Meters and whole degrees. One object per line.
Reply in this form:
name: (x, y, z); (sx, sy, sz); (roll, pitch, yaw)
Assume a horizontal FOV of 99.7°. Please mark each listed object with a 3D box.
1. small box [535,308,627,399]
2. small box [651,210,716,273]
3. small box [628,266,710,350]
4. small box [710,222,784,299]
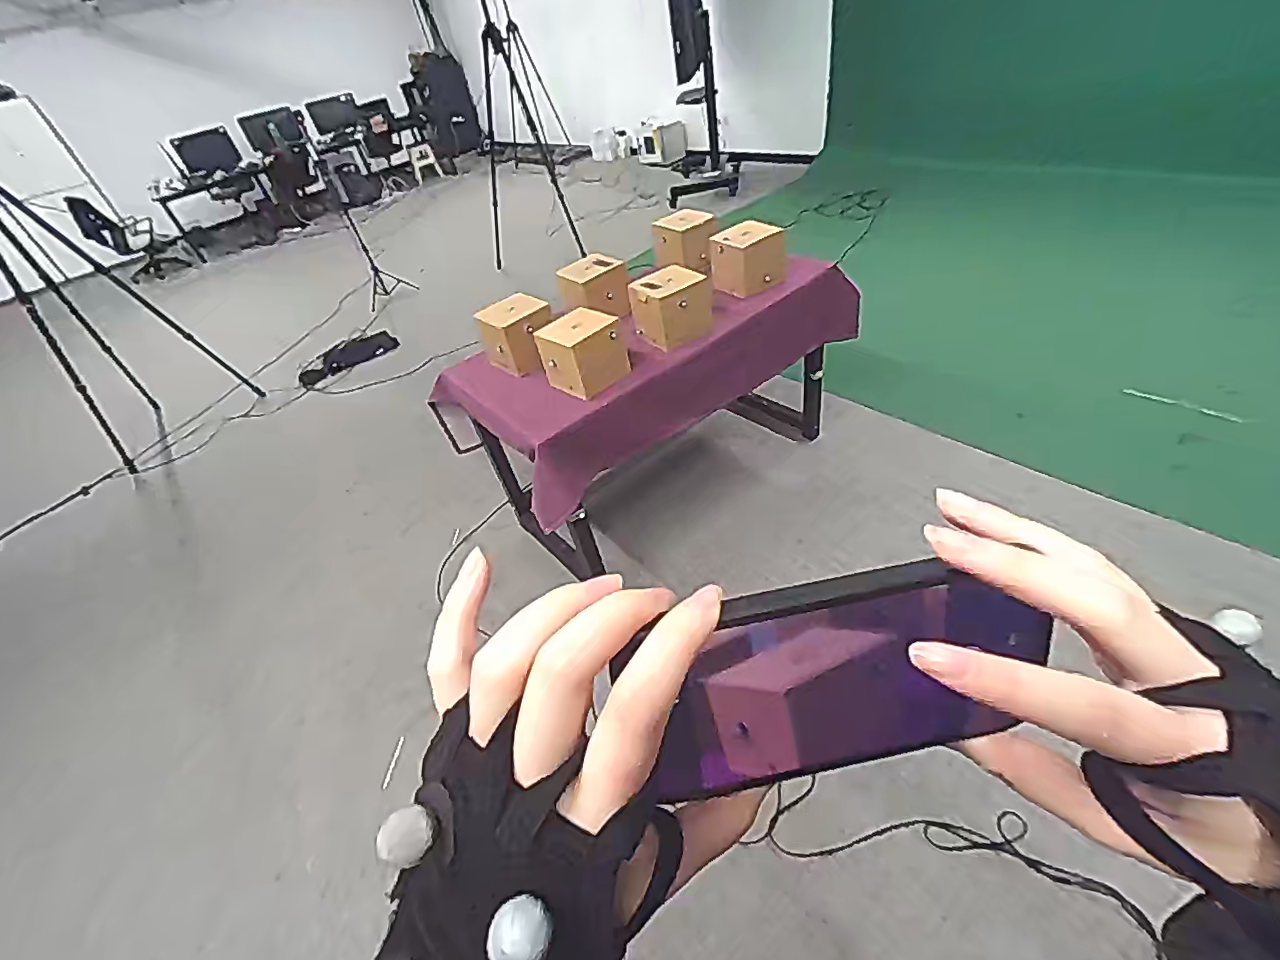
small box: (-0.155, -0.348, 1.489); (0.168, 0.176, 0.179); (28, 54, 37)
small box: (0.163, -0.862, 1.972); (0.168, 0.176, 0.179); (-33, 46, -20)
small box: (0.091, -0.508, 1.600); (0.179, 0.176, 0.168); (-30, 44, -19)
small box: (0.349, -0.718, 1.765); (0.179, 0.176, 0.168); (-29, 43, -18)
